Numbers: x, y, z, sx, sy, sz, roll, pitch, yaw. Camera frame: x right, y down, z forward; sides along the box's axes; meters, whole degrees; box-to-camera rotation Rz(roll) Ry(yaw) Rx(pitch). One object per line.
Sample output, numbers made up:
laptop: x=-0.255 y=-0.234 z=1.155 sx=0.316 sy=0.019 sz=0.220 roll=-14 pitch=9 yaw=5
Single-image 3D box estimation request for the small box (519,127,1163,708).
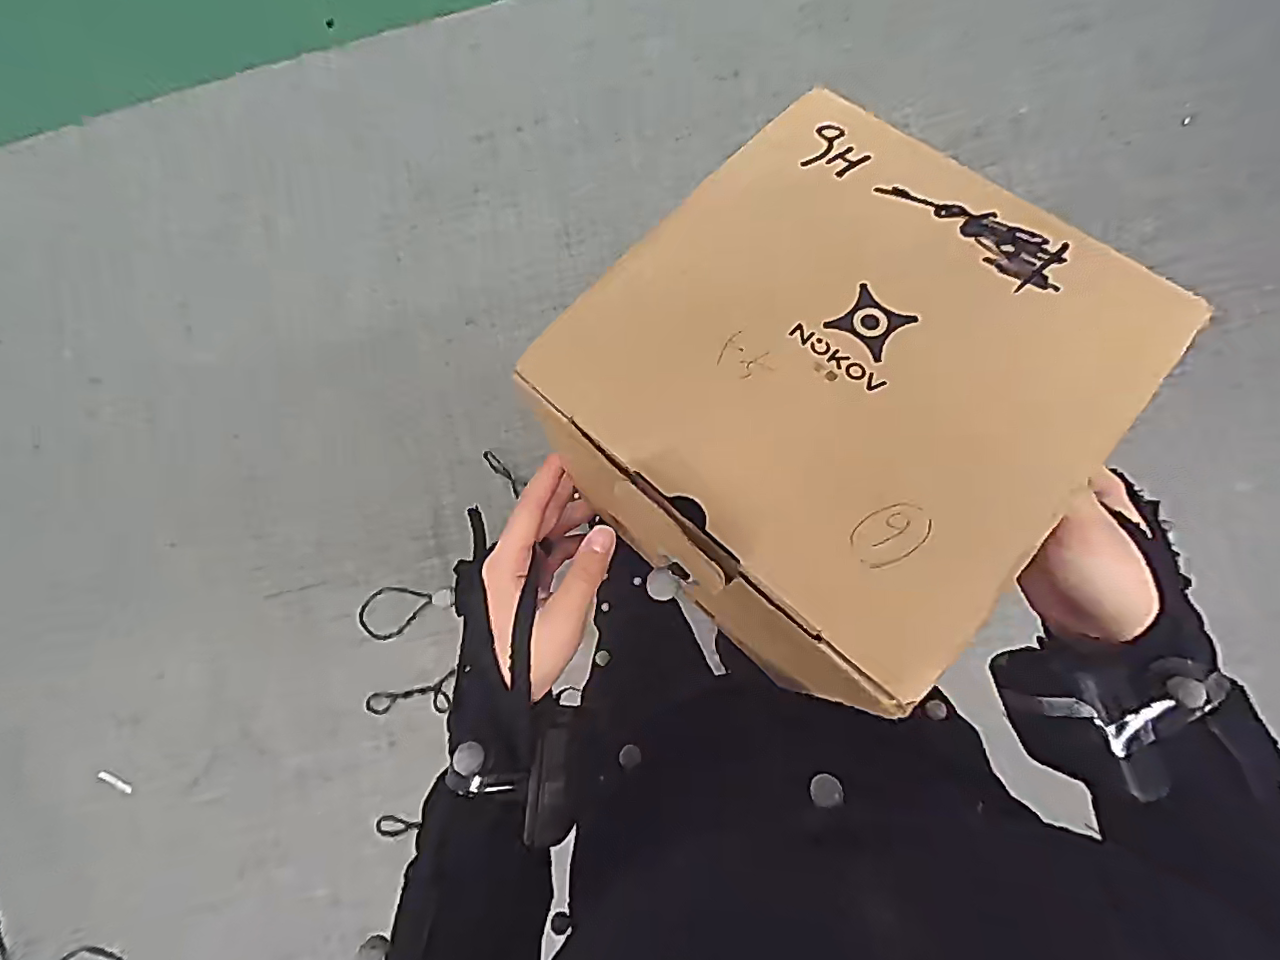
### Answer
small box: x=0.075 y=-0.016 z=0.273 sx=0.168 sy=0.176 sz=0.179 roll=41 pitch=79 yaw=15
